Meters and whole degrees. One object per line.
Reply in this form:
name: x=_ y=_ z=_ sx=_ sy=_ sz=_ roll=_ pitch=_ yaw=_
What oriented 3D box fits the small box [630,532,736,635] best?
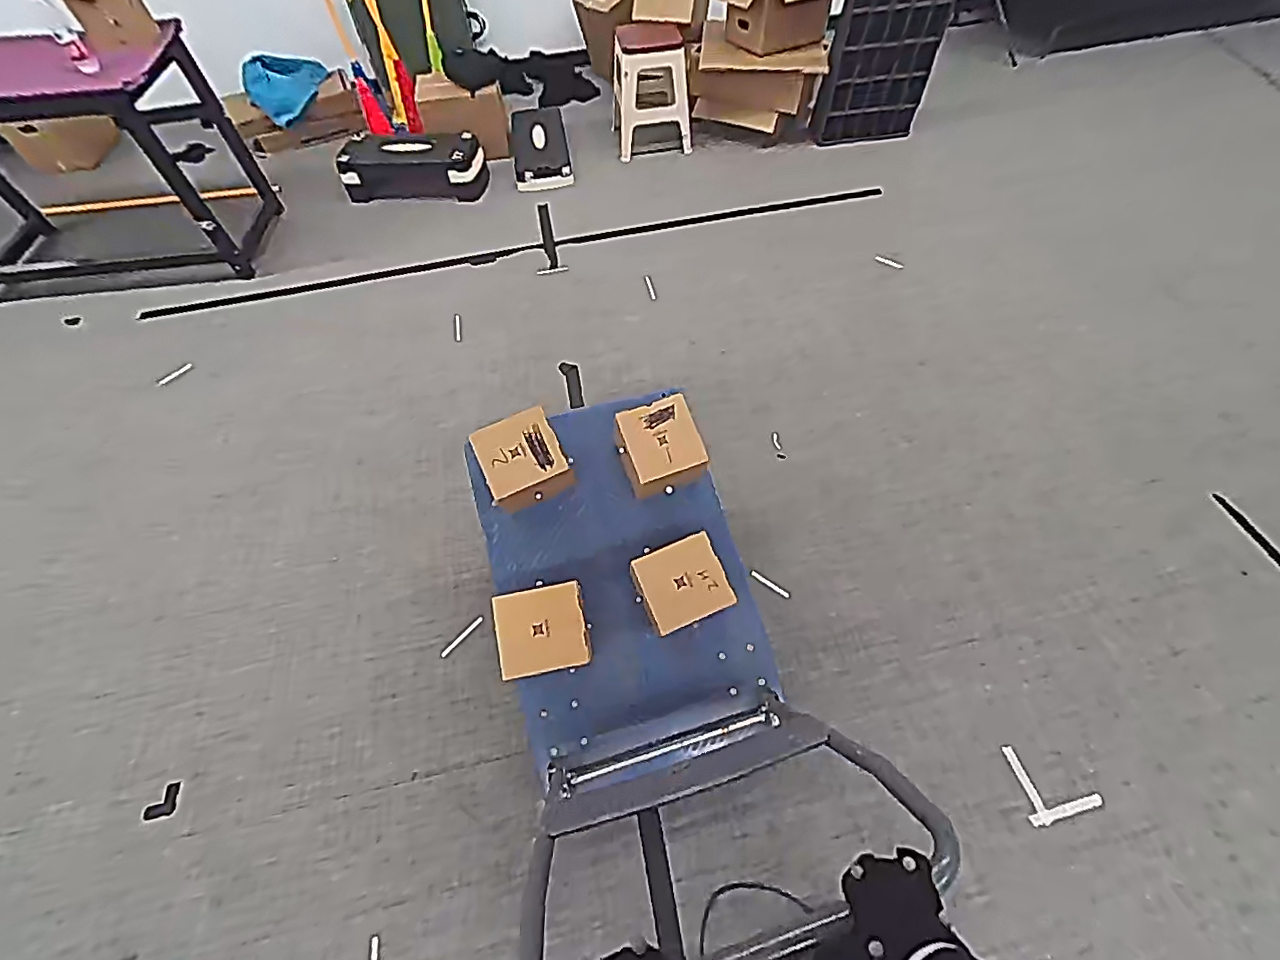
small box: x=0.088 y=0.236 z=1.203 sx=0.179 sy=0.176 sz=0.168 roll=-22 pitch=77 yaw=-8

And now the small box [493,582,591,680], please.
small box: x=-0.205 y=0.325 z=1.164 sx=0.179 sy=0.176 sz=0.168 roll=-11 pitch=75 yaw=-8

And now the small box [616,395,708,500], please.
small box: x=0.043 y=-0.072 z=1.286 sx=0.168 sy=0.176 sz=0.179 roll=-19 pitch=77 yaw=-8
